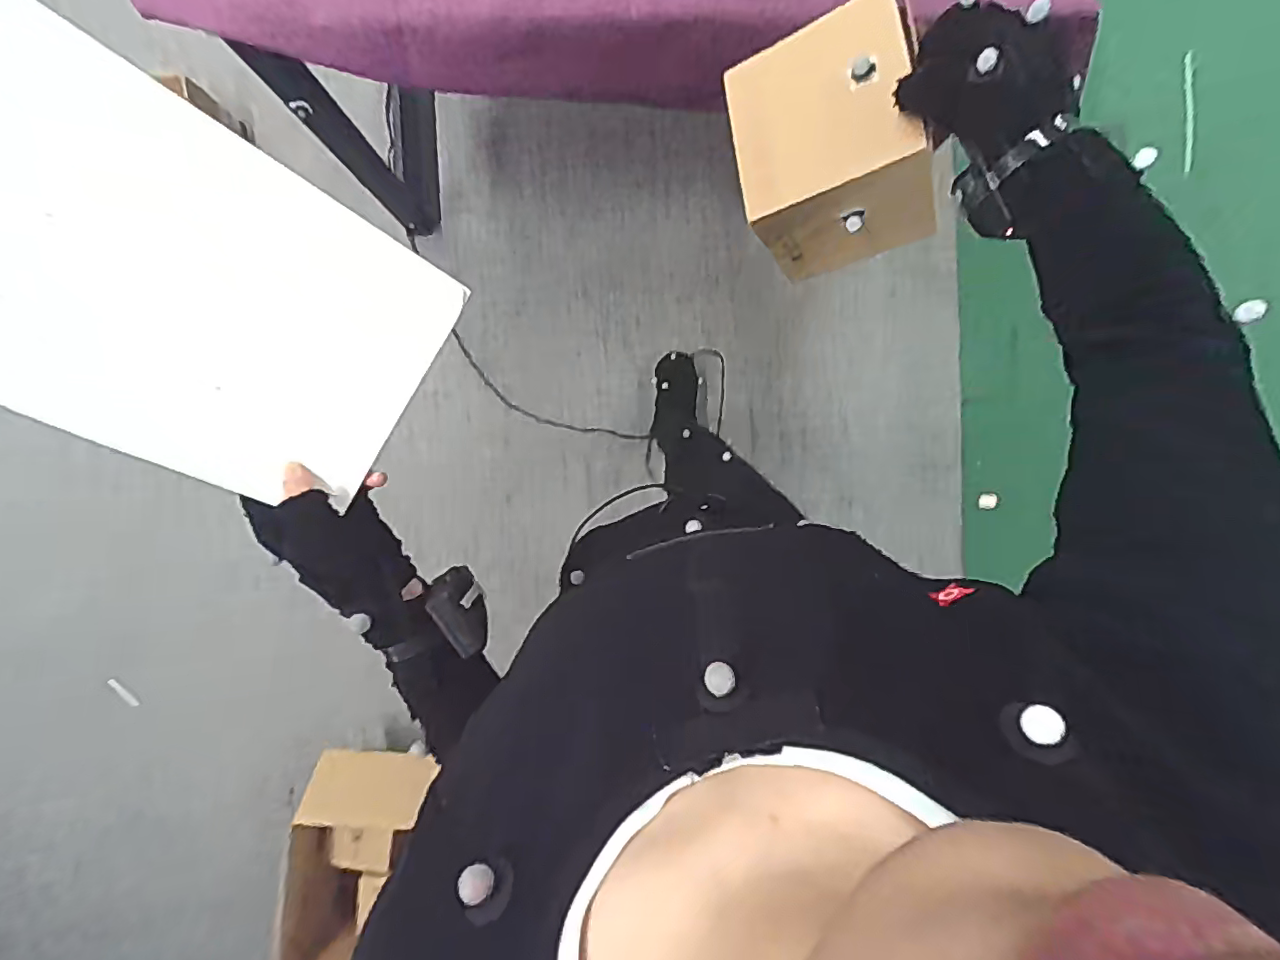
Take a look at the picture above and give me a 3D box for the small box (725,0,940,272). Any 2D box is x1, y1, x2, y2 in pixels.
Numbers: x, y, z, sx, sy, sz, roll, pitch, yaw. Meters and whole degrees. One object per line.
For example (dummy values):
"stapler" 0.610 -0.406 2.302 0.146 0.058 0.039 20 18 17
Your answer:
"small box" 0.205 -0.353 0.576 0.176 0.168 0.179 -13 79 29
